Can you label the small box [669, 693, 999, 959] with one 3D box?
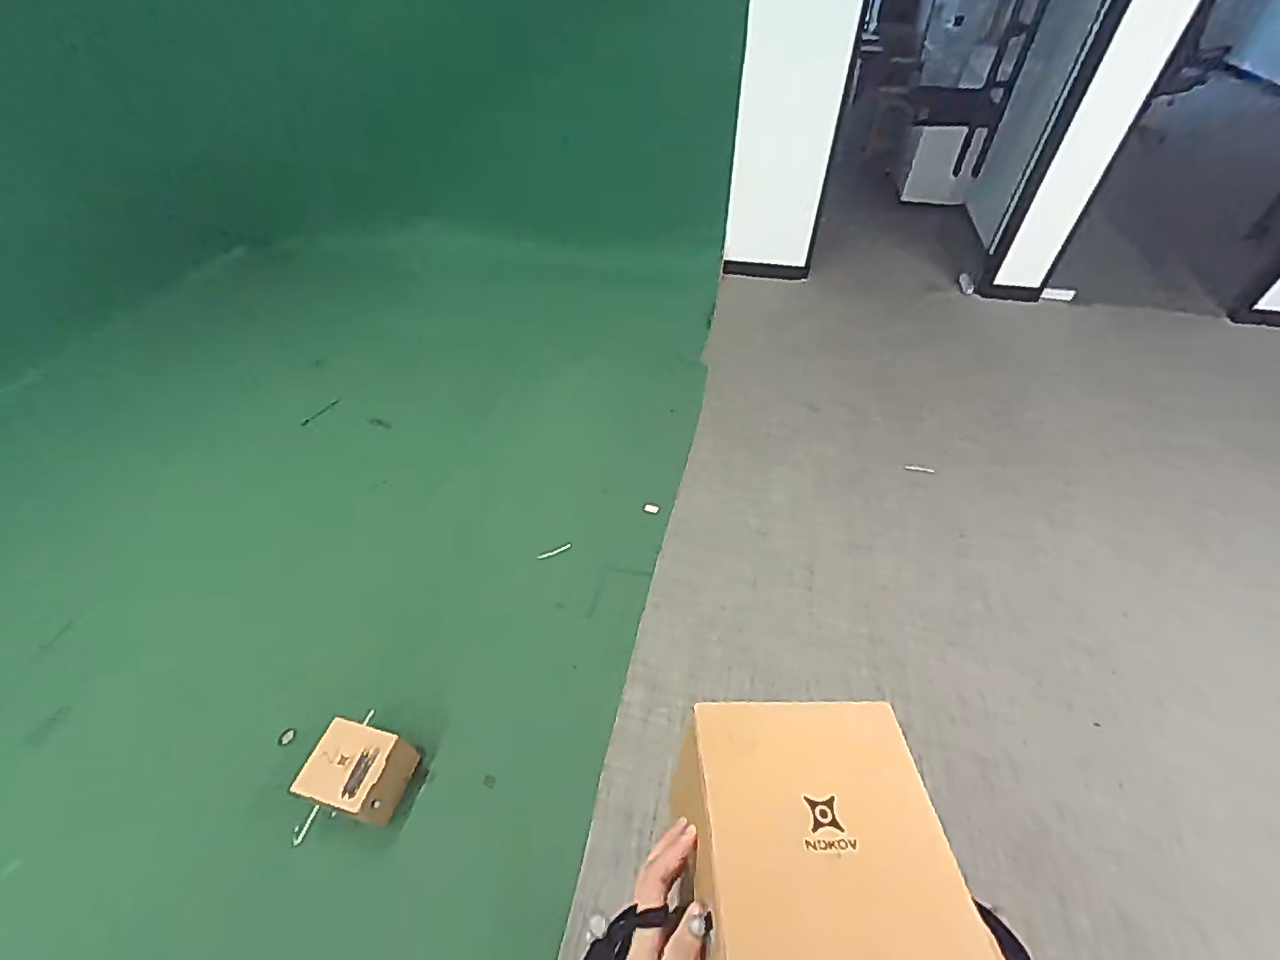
[{"bbox_3d":[0.117,0.289,0.418,0.168,0.176,0.179,2,39,-5],"label":"small box"}]
